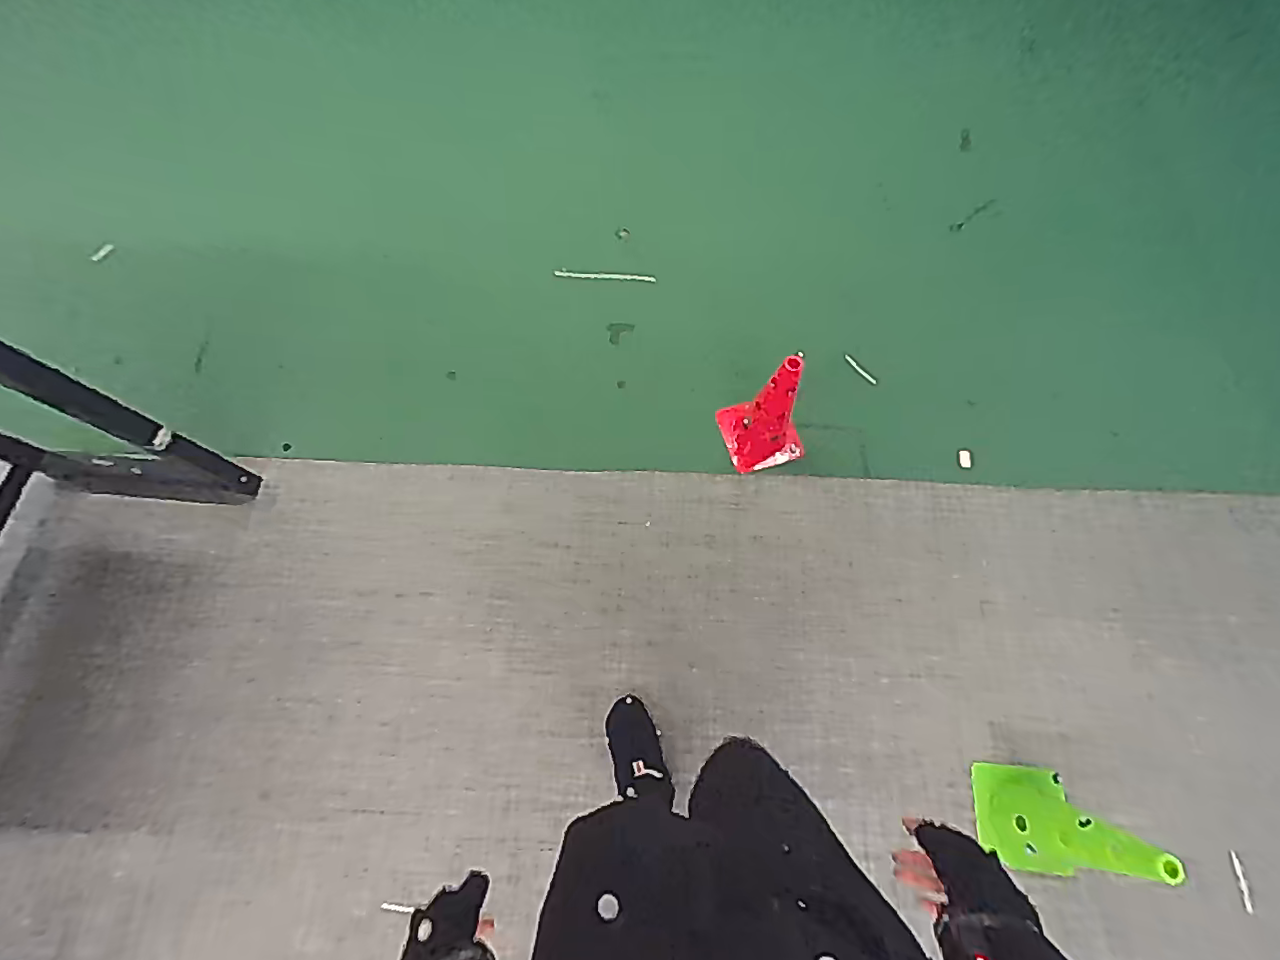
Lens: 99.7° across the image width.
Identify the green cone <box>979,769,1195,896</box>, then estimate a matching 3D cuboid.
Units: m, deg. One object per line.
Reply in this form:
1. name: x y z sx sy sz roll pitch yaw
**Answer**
1. green cone: 0.839 0.681 1.007 0.200 0.368 0.202 4 69 2
